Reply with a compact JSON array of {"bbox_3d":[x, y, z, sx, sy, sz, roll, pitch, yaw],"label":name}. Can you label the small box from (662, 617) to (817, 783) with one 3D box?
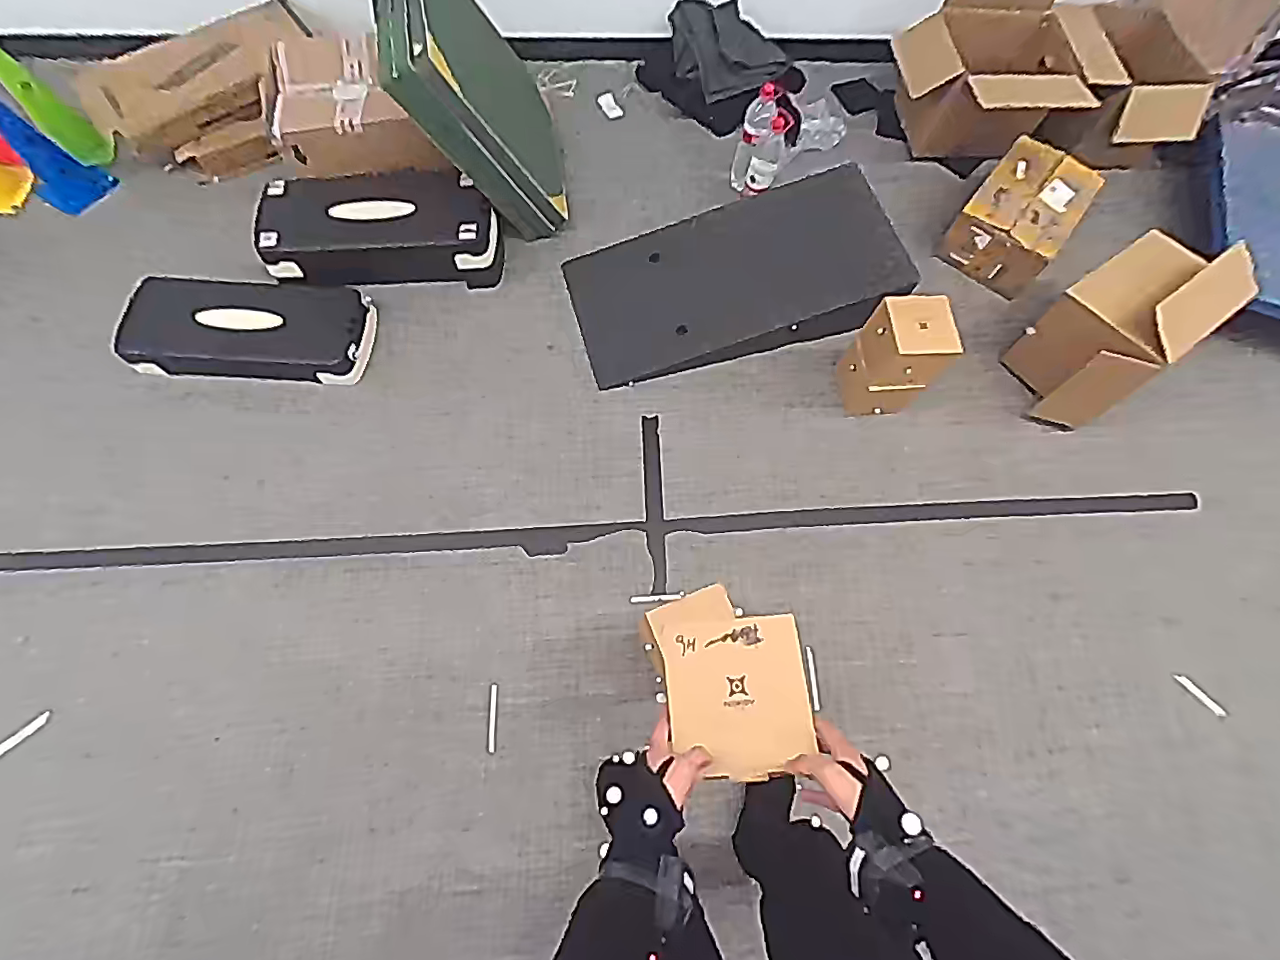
[{"bbox_3d":[0.120,0.282,0.712,0.168,0.176,0.179,-5,70,2],"label":"small box"}]
